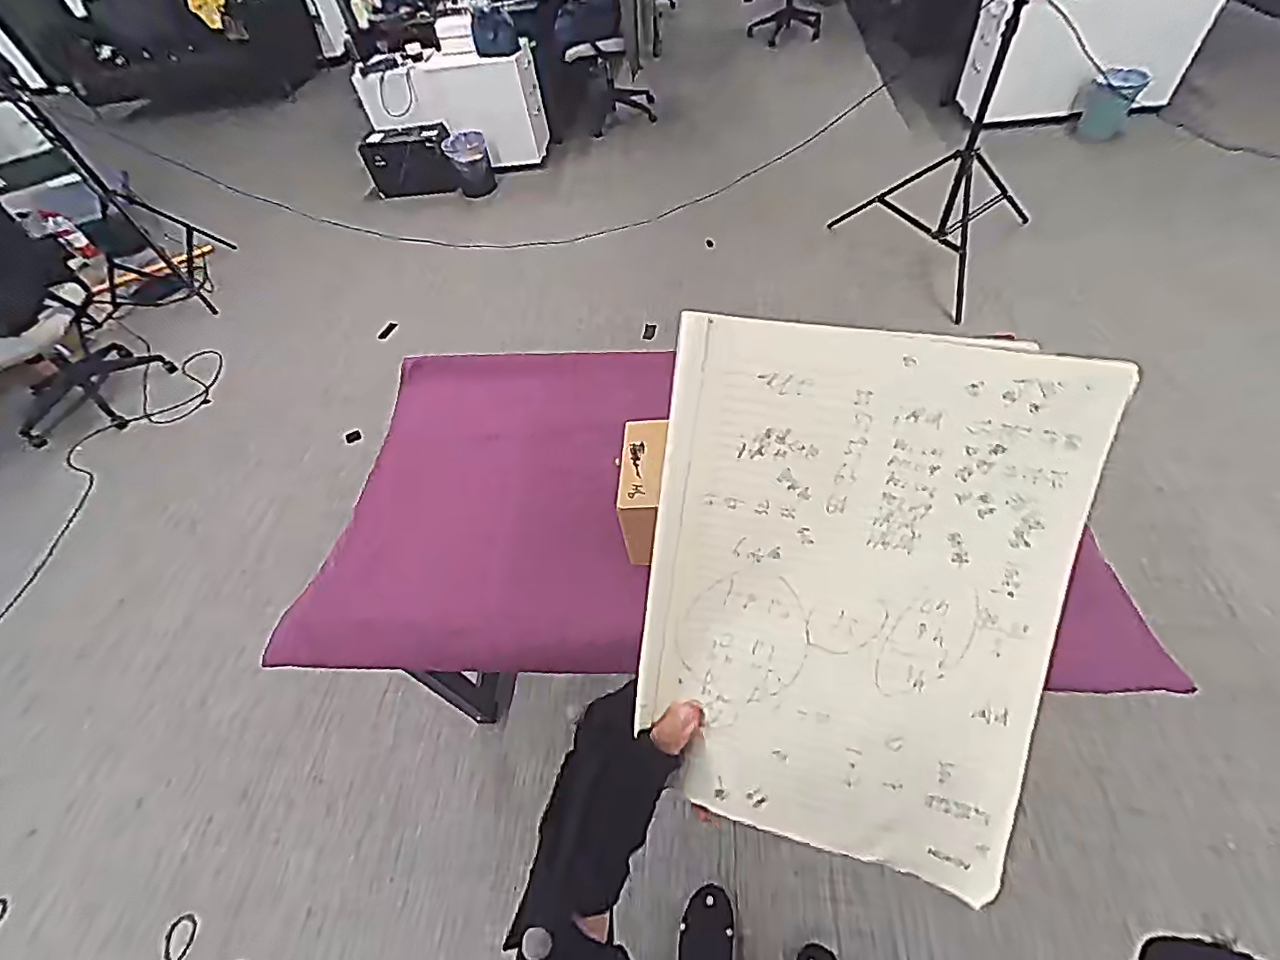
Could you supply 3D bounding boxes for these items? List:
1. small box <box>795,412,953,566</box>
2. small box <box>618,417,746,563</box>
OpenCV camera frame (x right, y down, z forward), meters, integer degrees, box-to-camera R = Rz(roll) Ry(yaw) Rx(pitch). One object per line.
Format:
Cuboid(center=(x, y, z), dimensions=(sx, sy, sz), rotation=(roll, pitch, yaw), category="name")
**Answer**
Cuboid(center=(0.332, 0.016, 0.807), dimensions=(0.179, 0.176, 0.168), rotation=(1, 50, 11), category="small box")
Cuboid(center=(0.069, 0.019, 0.843), dimensions=(0.179, 0.176, 0.168), rotation=(-1, 52, 7), category="small box")
